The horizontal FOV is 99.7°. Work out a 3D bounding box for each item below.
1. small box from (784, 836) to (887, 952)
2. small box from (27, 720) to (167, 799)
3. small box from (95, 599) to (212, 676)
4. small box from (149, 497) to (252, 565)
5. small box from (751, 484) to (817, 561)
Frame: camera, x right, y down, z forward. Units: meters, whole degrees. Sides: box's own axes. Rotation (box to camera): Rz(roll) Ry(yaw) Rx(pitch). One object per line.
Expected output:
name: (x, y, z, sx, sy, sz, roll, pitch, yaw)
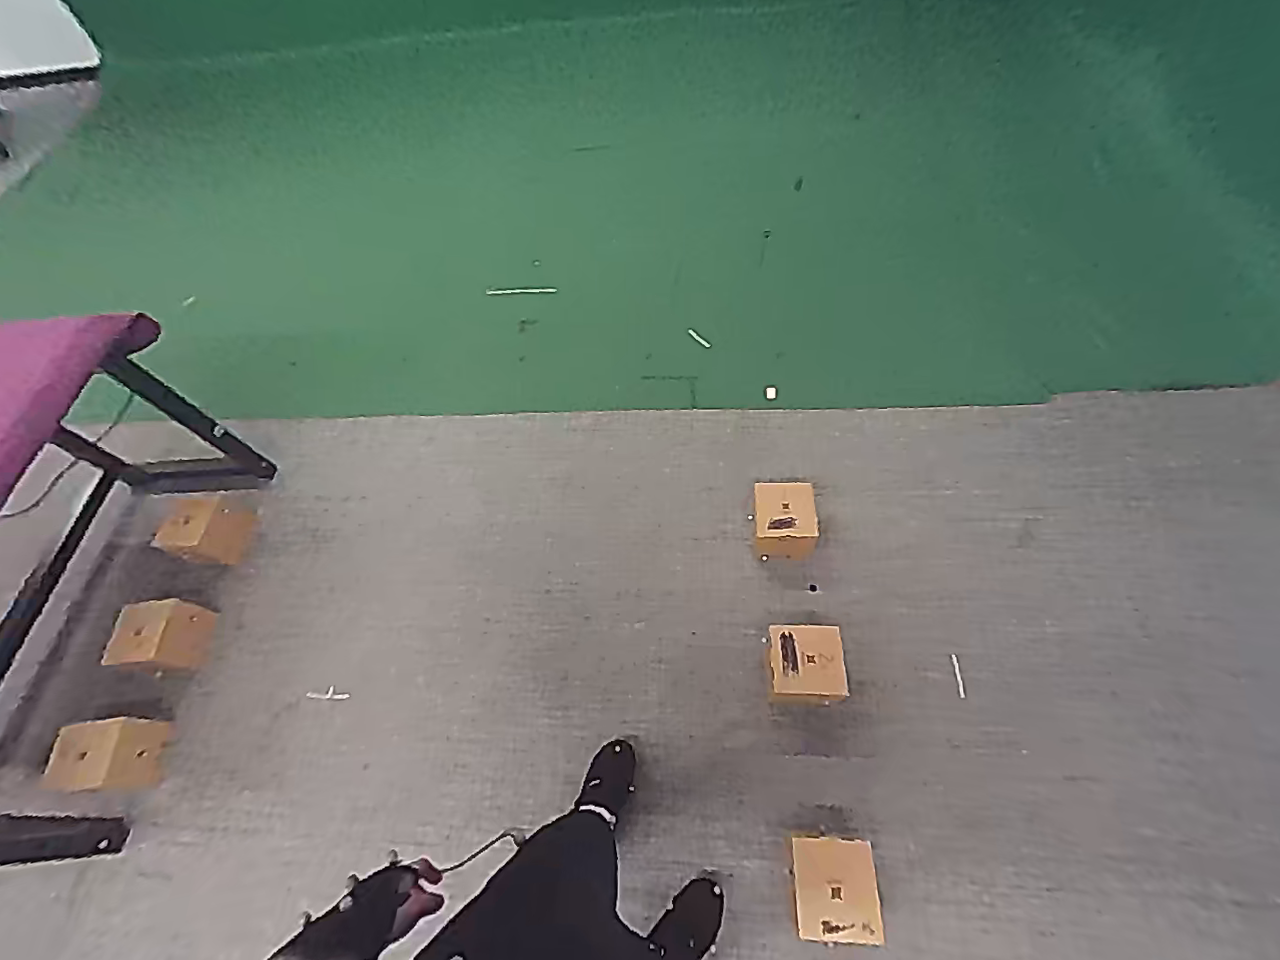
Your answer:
small box: (0.405, 0.872, 1.155, 0.168, 0.176, 0.179, -1, 60, 6)
small box: (-1.427, 0.744, 1.438, 0.179, 0.176, 0.168, -8, 59, 2)
small box: (-1.423, 0.469, 1.598, 0.168, 0.176, 0.179, -7, 60, 3)
small box: (-1.427, 0.171, 1.771, 0.168, 0.176, 0.179, -1, 60, 6)
small box: (0.416, 0.129, 1.584, 0.168, 0.176, 0.179, 0, 59, 6)
